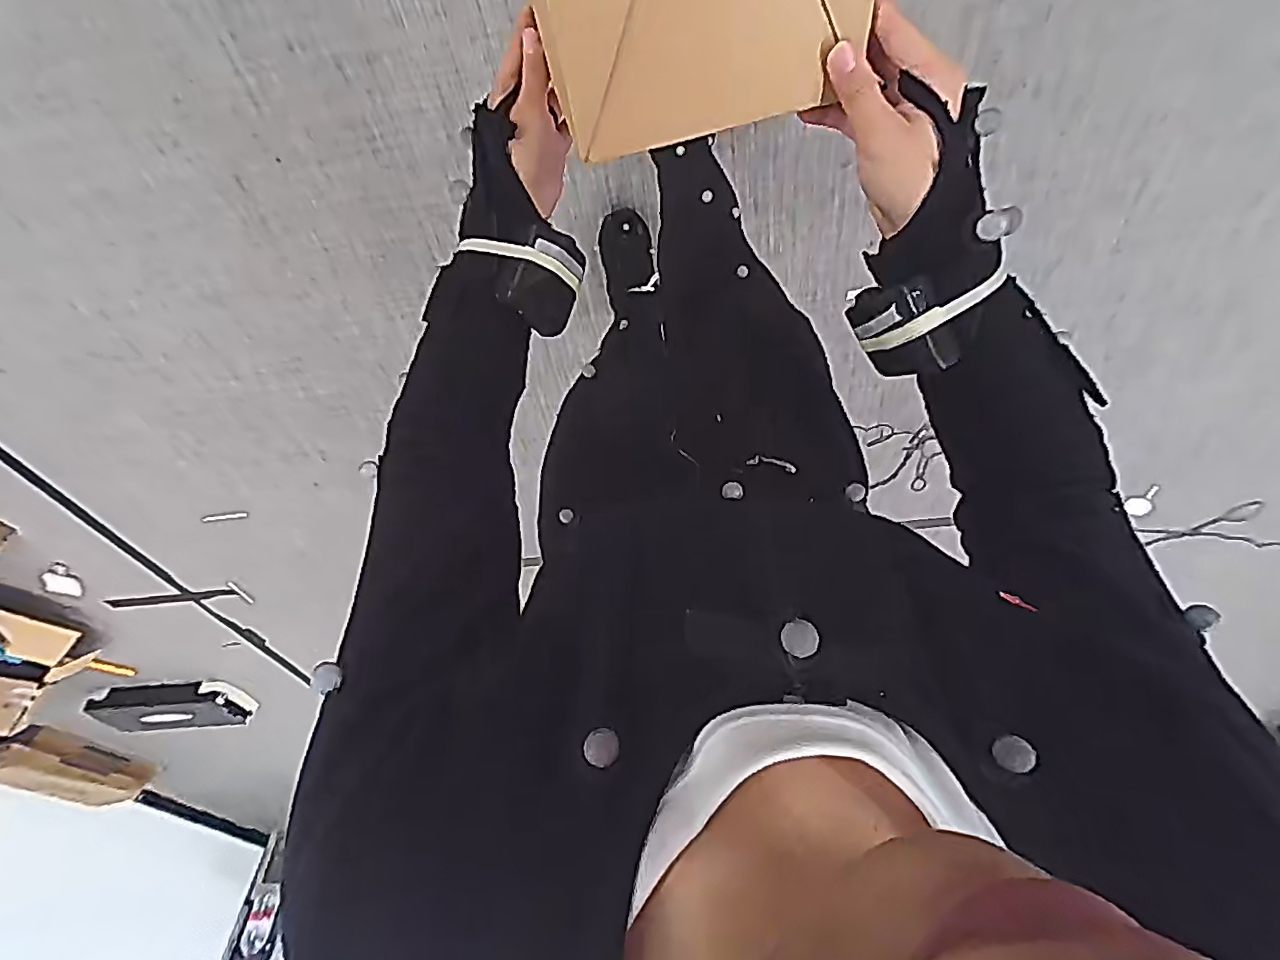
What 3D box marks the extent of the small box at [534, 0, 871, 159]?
[{"bbox_3d":[0.019,-0.315,0.289,0.168,0.176,0.179,-15,145,-2],"label":"small box"}]
